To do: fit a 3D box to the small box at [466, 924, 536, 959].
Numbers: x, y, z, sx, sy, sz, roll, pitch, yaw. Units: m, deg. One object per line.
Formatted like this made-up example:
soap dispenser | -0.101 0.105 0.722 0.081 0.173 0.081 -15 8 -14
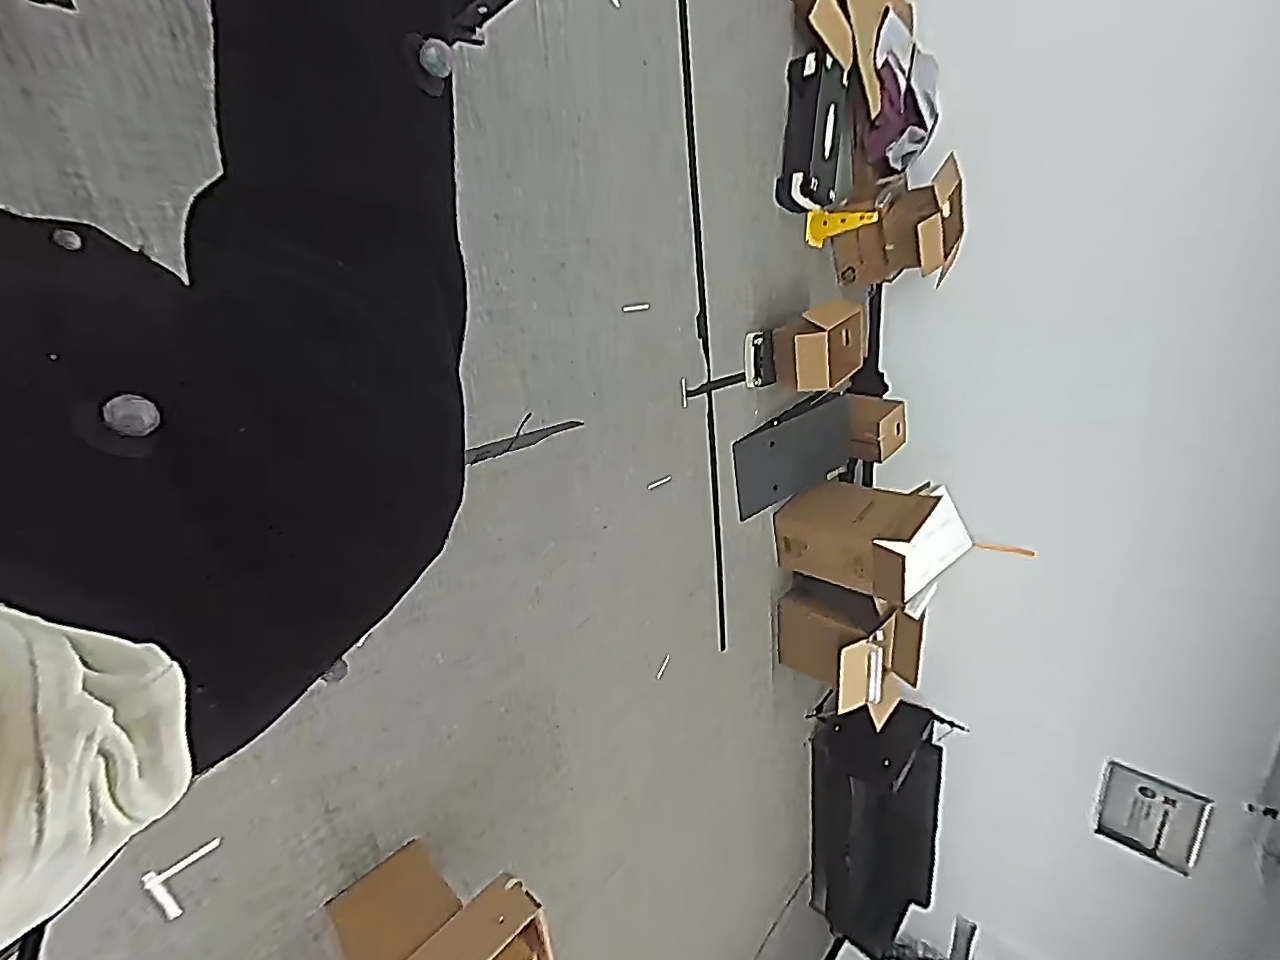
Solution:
small box | -0.422 1.542 1.669 0.168 0.176 0.179 -26 118 -41
